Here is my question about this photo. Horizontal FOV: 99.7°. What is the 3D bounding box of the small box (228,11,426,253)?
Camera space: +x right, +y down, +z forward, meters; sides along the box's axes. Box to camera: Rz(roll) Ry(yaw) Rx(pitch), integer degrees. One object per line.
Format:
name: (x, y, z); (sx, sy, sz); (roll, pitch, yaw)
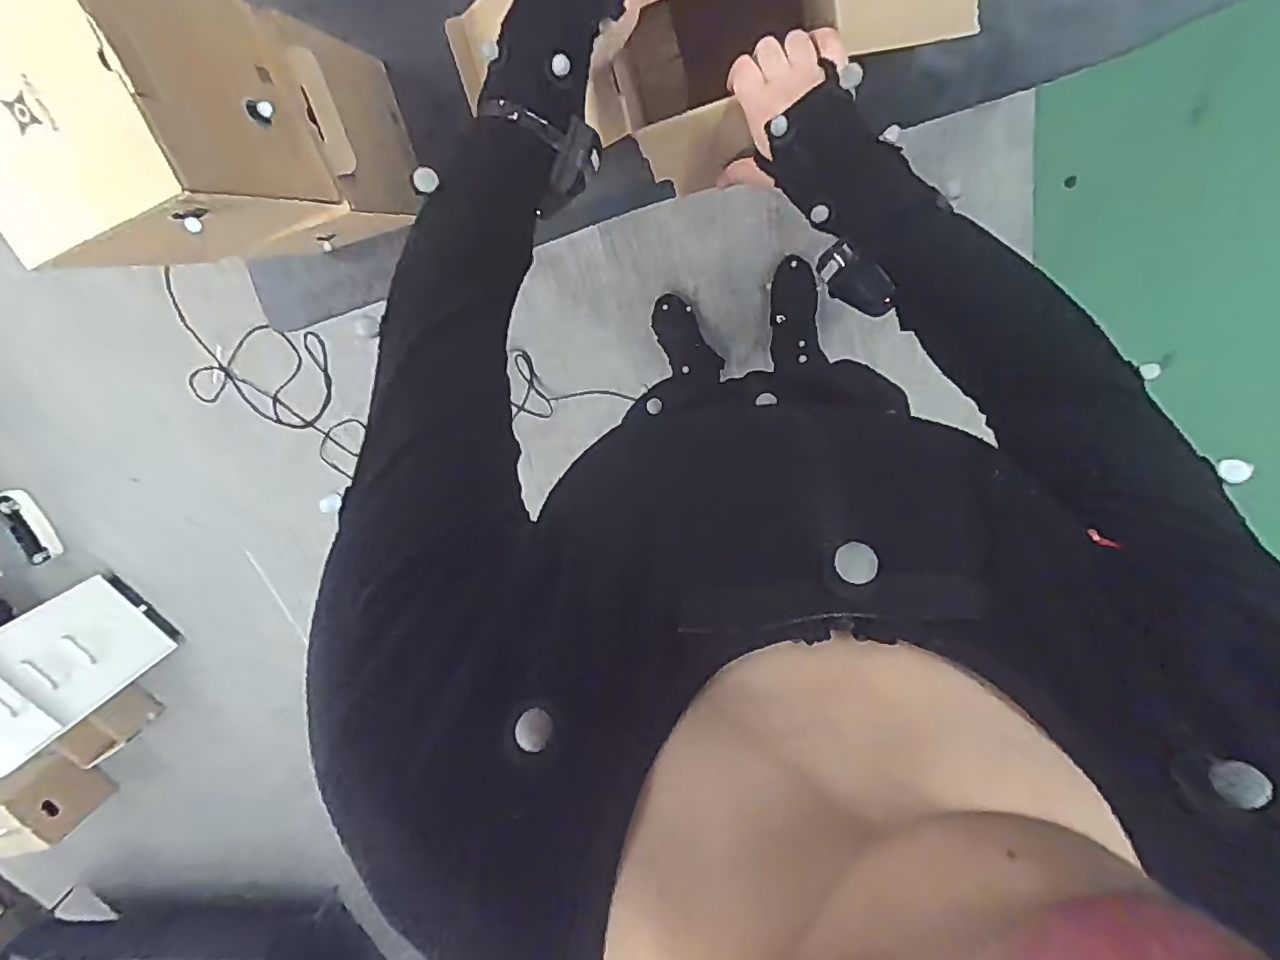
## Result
small box: (-0.362, -0.357, 0.588); (0.179, 0.176, 0.168); (-9, 113, 14)

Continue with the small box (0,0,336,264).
small box: (-0.404, -0.289, 0.446); (0.179, 0.176, 0.168); (-14, 111, 16)
